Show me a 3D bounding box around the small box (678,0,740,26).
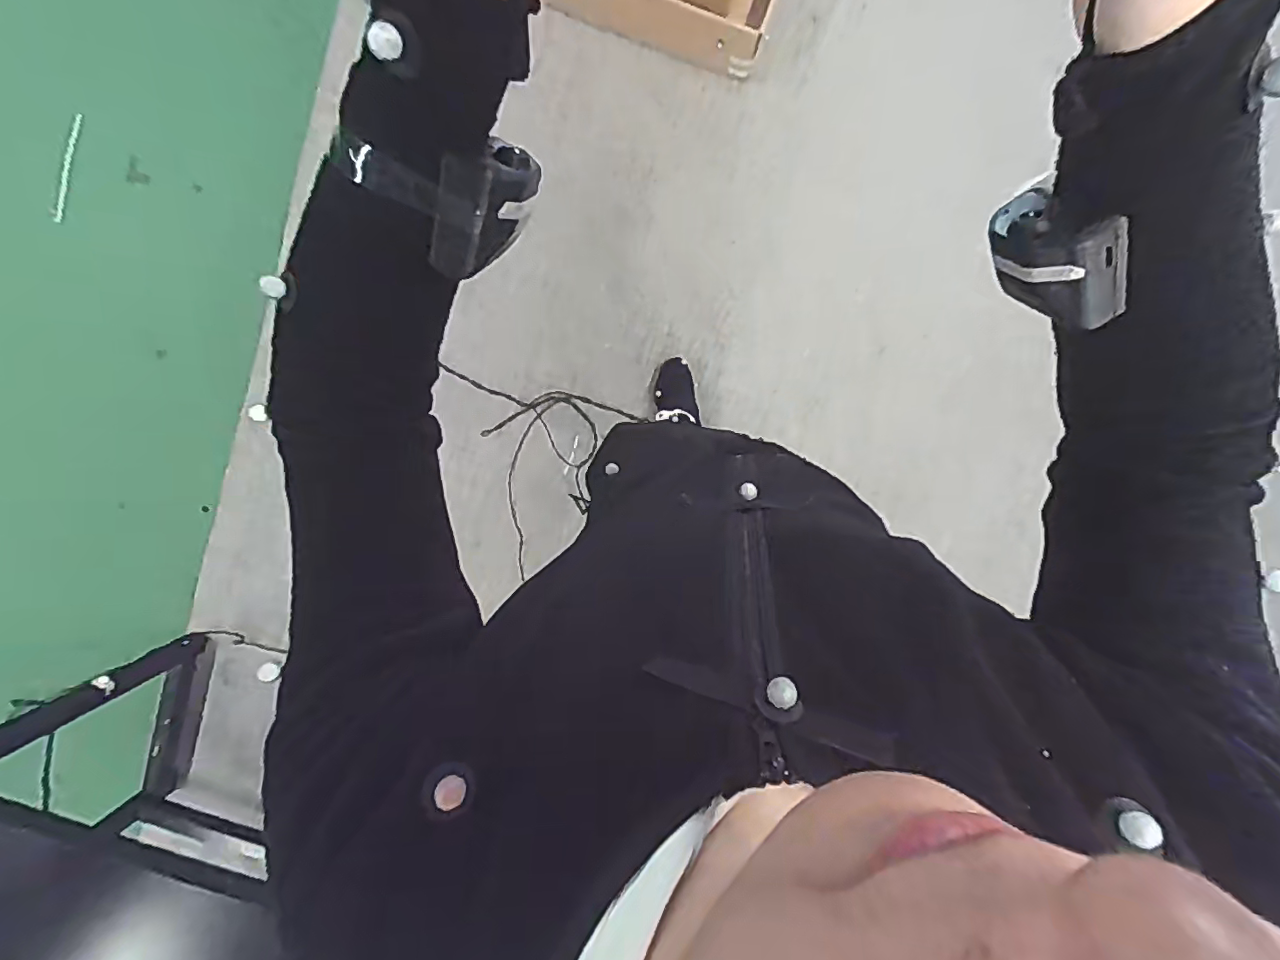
[{"bbox_3d":[0.188,-1.285,1.332,0.168,0.176,0.179,23,97,-1],"label":"small box"}]
